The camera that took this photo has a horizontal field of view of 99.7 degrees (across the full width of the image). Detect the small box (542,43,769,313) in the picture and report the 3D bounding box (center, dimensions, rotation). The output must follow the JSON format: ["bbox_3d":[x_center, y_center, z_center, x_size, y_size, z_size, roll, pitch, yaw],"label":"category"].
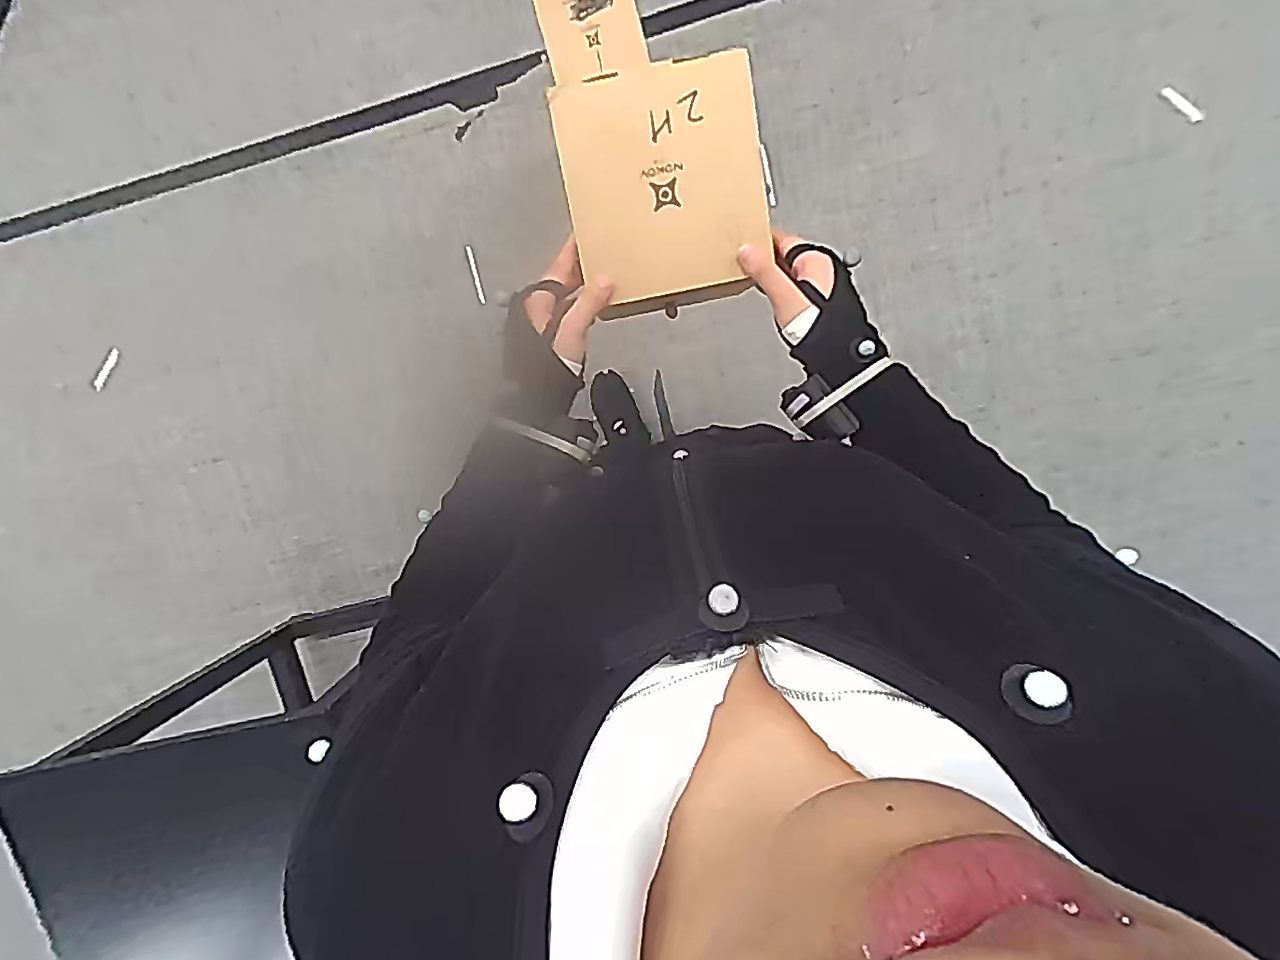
[{"bbox_3d":[0.017,-0.266,0.526,0.168,0.176,0.179,-11,102,2],"label":"small box"}]

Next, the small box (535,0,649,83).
[{"bbox_3d":[-0.076,-0.752,0.991,0.168,0.176,0.179,-16,97,4],"label":"small box"}]
